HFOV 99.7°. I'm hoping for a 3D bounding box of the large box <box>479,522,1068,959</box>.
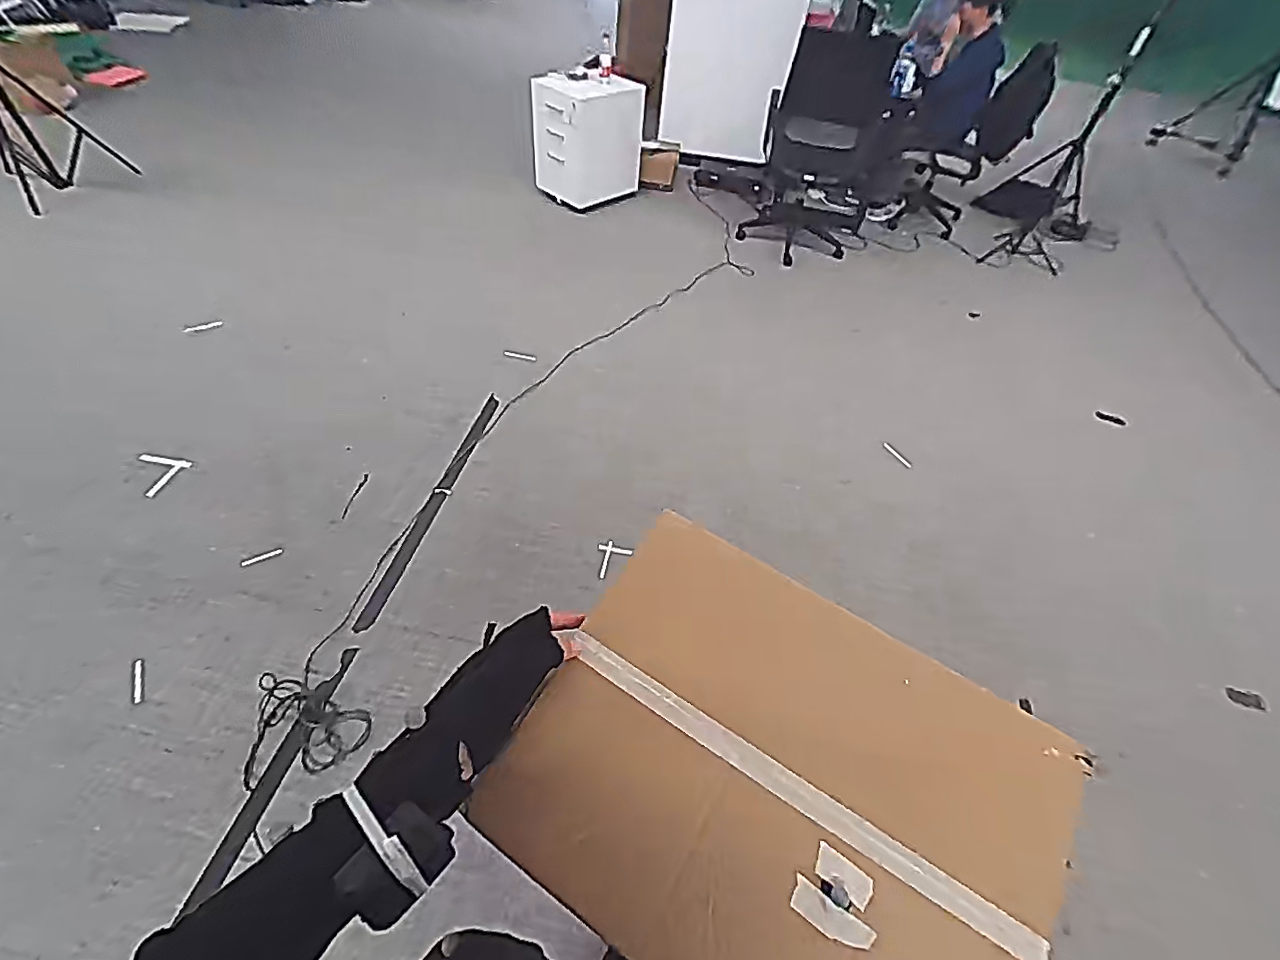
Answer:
[{"bbox_3d":[0.113,0.315,0.573,0.408,0.320,0.320,30,65,15],"label":"large box"}]
